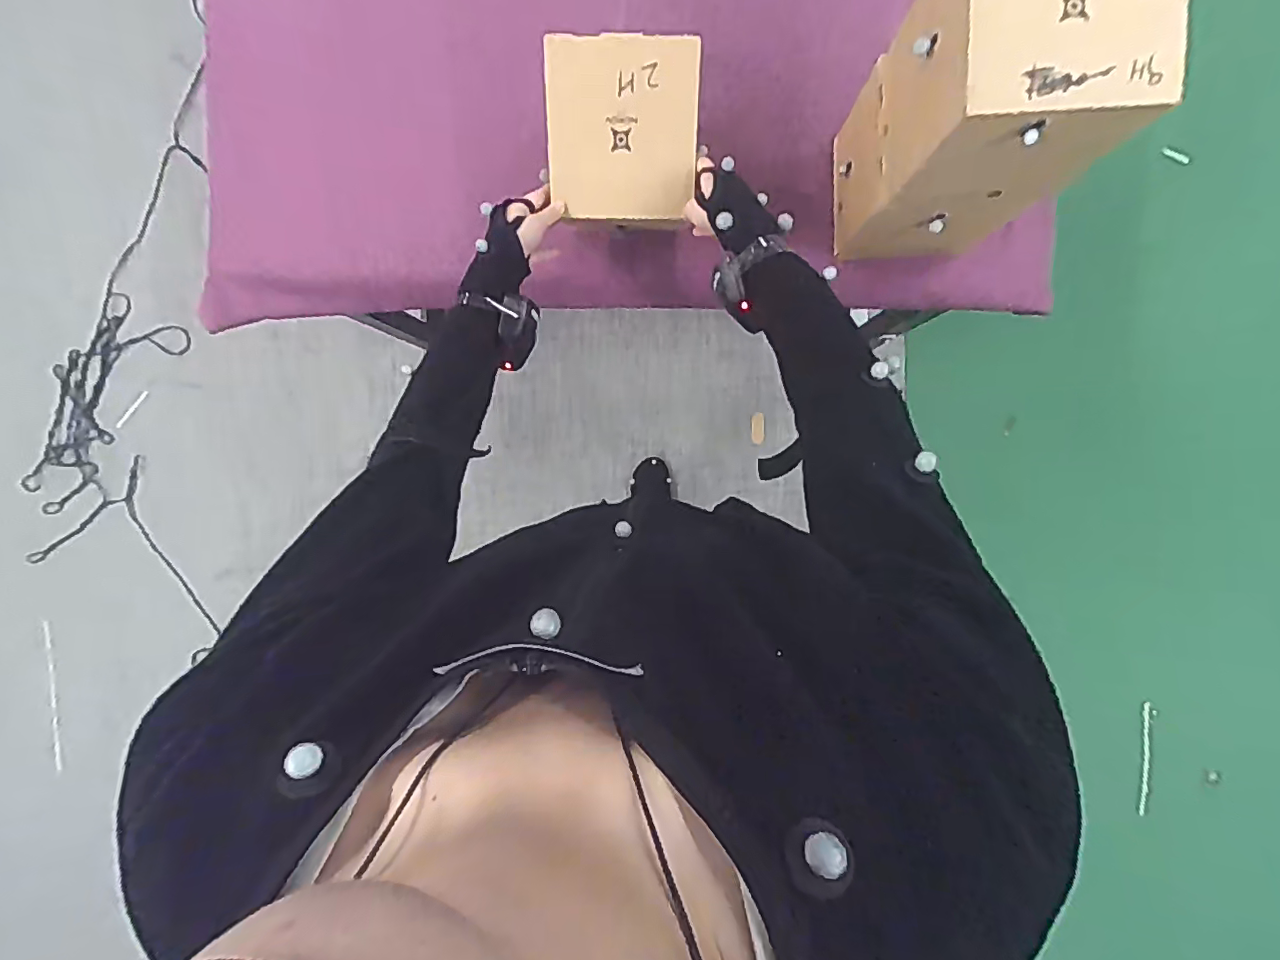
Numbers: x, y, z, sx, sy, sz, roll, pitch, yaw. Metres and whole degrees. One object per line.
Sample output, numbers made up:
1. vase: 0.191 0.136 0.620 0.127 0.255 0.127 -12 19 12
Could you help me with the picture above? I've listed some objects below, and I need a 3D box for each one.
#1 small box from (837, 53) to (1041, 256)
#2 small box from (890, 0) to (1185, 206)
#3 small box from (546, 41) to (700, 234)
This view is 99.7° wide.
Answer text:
1. small box: 0.357 -0.391 0.670 0.179 0.176 0.168 -1 93 5
2. small box: 0.347 -0.385 0.506 0.168 0.176 0.179 -1 92 6
3. small box: -0.017 -0.407 0.671 0.168 0.176 0.179 1 109 1
